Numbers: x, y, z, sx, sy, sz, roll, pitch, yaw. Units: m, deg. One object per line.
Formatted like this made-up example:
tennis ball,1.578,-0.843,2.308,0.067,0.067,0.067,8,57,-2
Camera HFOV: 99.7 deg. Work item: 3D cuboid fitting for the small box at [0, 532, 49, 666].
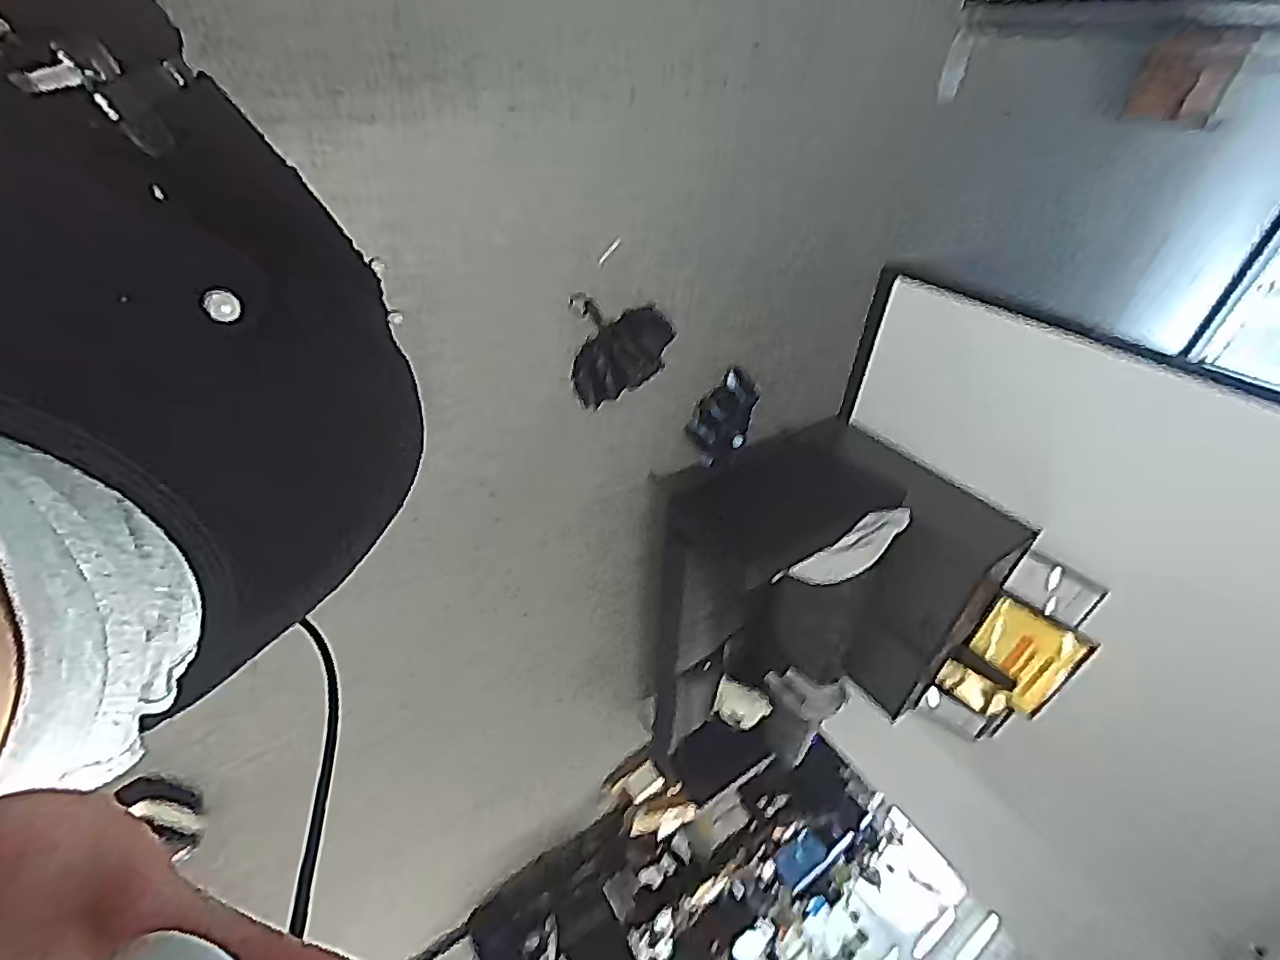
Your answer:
small box,-0.923,0.163,0.691,0.168,0.176,0.179,-22,137,-25

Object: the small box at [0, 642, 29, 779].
small box,-0.834,0.254,0.587,0.168,0.176,0.179,-21,134,-26
